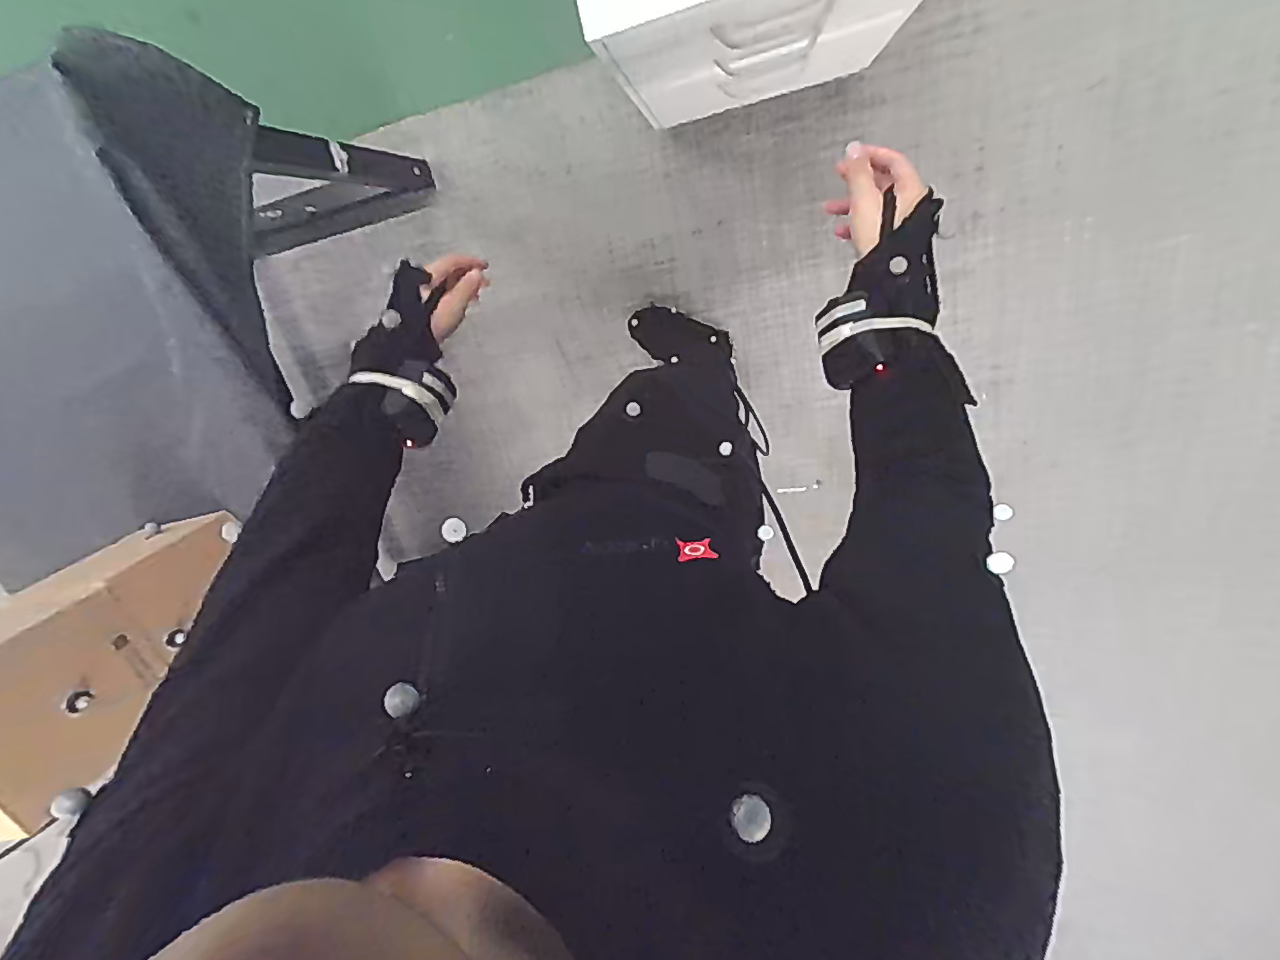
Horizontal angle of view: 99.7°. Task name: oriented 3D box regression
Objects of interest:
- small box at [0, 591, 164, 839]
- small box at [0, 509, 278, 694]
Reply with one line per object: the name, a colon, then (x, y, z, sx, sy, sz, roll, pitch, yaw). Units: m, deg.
small box: (-0.647, 0.231, 0.549, 0.179, 0.176, 0.168, -11, 112, 14)
small box: (-0.626, 0.155, 0.696, 0.179, 0.176, 0.168, -11, 113, 15)
